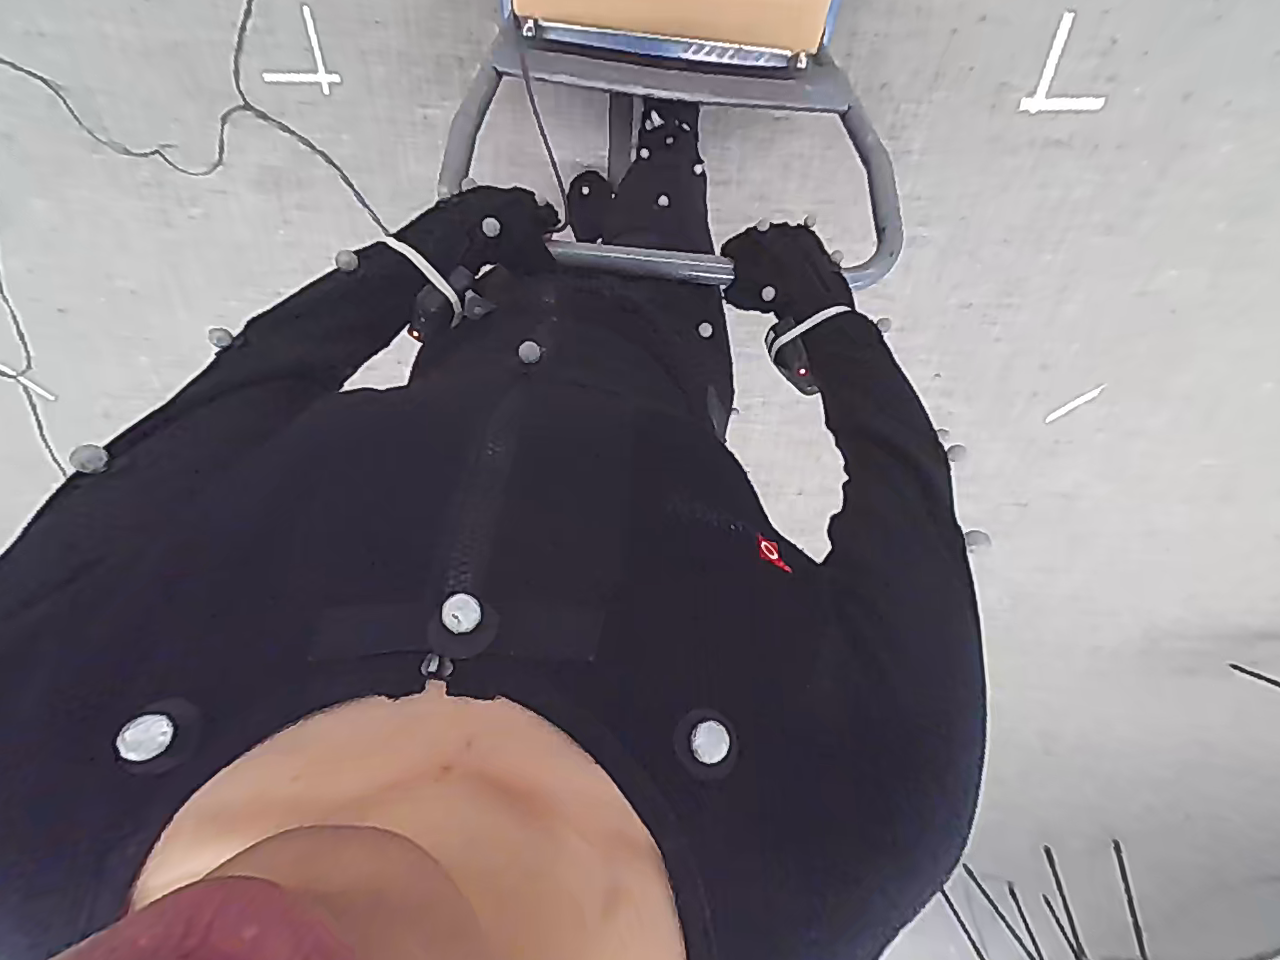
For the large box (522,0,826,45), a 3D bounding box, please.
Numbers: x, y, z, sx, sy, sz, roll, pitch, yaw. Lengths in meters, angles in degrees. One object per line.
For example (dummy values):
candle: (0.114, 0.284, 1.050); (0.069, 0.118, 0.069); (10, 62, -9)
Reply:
large box: (0.051, -0.814, 0.705); (0.408, 0.320, 0.320); (3, 141, -4)
